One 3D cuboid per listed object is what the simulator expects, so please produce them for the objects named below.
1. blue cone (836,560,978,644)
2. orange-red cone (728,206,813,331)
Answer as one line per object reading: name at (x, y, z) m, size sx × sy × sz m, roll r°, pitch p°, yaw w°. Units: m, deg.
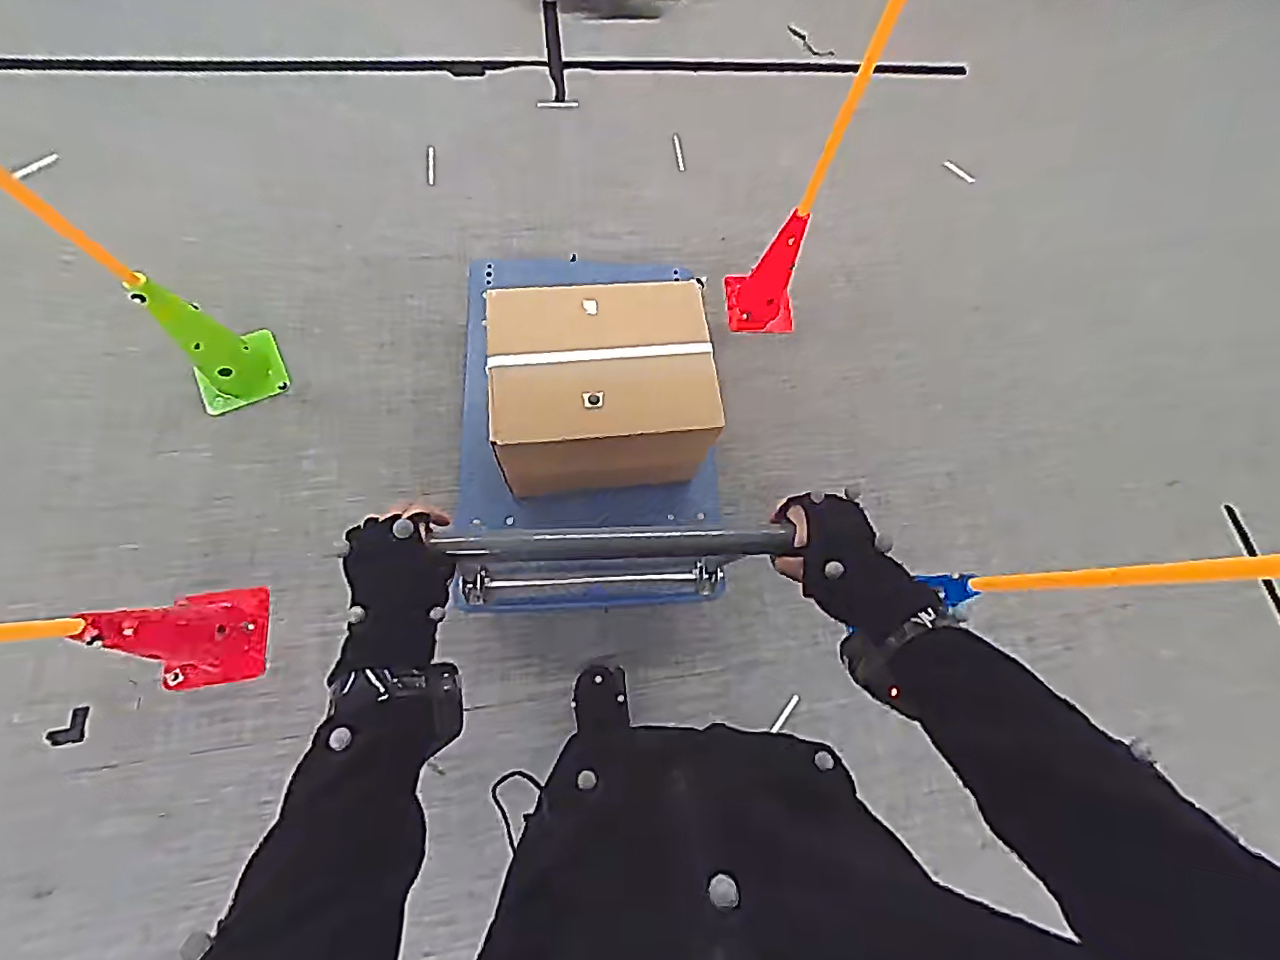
blue cone at (0.622, 0.252, 1.212) m, size 0.193 × 0.380 × 0.192 m, roll -9°, pitch 71°, yaw -10°
orange-red cone at (0.383, -0.590, 1.465) m, size 0.199 × 0.360 × 0.198 m, roll 1°, pitch 71°, yaw -7°
